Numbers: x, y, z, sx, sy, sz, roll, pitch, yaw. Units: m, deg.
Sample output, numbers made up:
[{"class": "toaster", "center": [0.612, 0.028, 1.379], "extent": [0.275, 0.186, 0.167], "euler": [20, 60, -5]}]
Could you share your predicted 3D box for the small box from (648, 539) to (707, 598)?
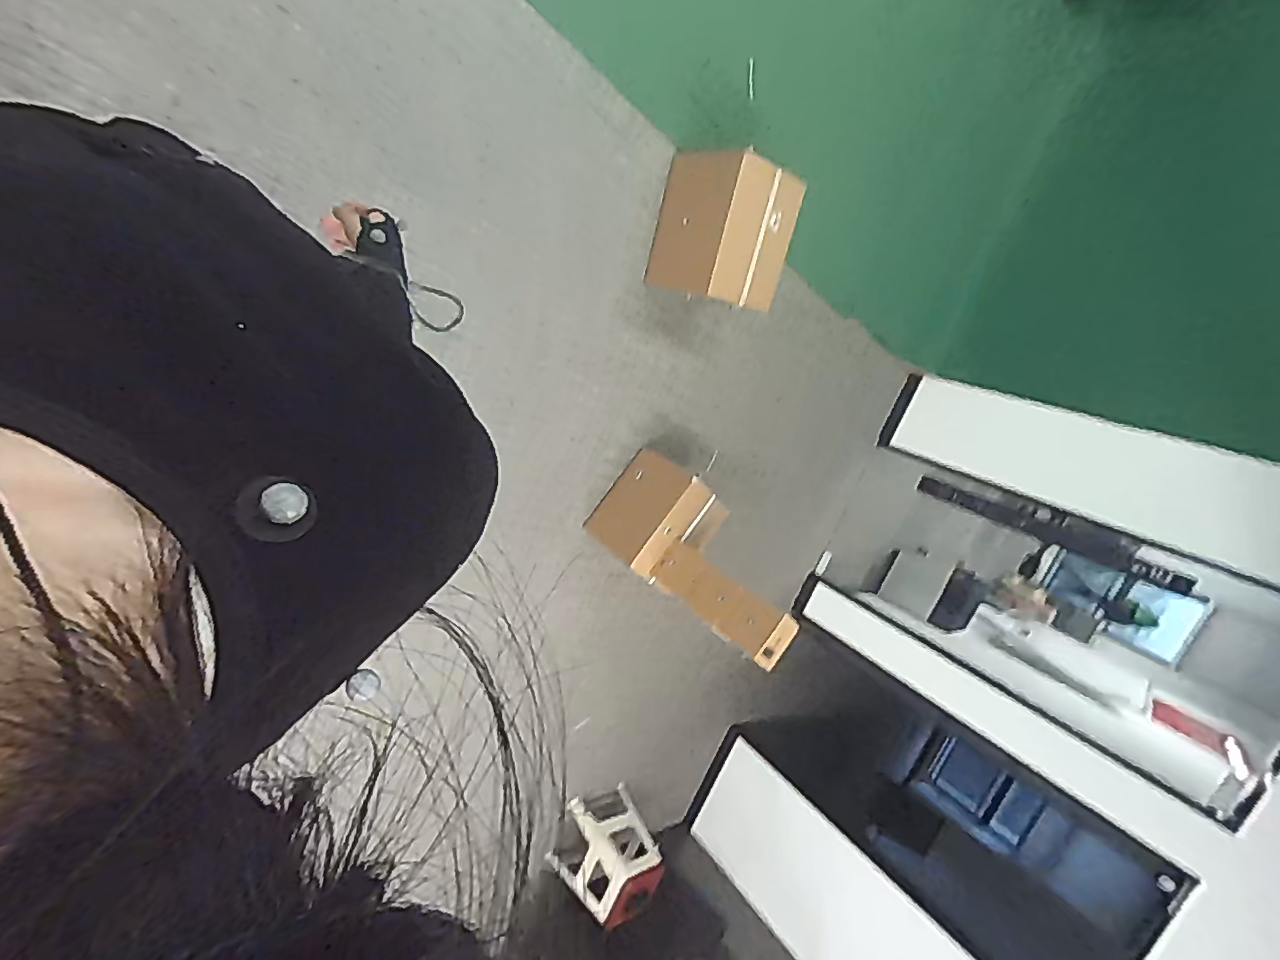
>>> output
[{"class": "small box", "center": [0.164, 0.340, 1.979], "extent": [0.168, 0.176, 0.179], "euler": [-53, 138, -6]}]

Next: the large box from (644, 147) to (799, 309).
[{"class": "large box", "center": [0.253, -0.803, 1.762], "extent": [0.320, 0.320, 0.408], "euler": [-2, 113, -42]}]

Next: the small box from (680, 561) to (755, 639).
[{"class": "small box", "center": [0.260, 0.412, 1.871], "extent": [0.179, 0.176, 0.168], "euler": [-52, 138, -7]}]
